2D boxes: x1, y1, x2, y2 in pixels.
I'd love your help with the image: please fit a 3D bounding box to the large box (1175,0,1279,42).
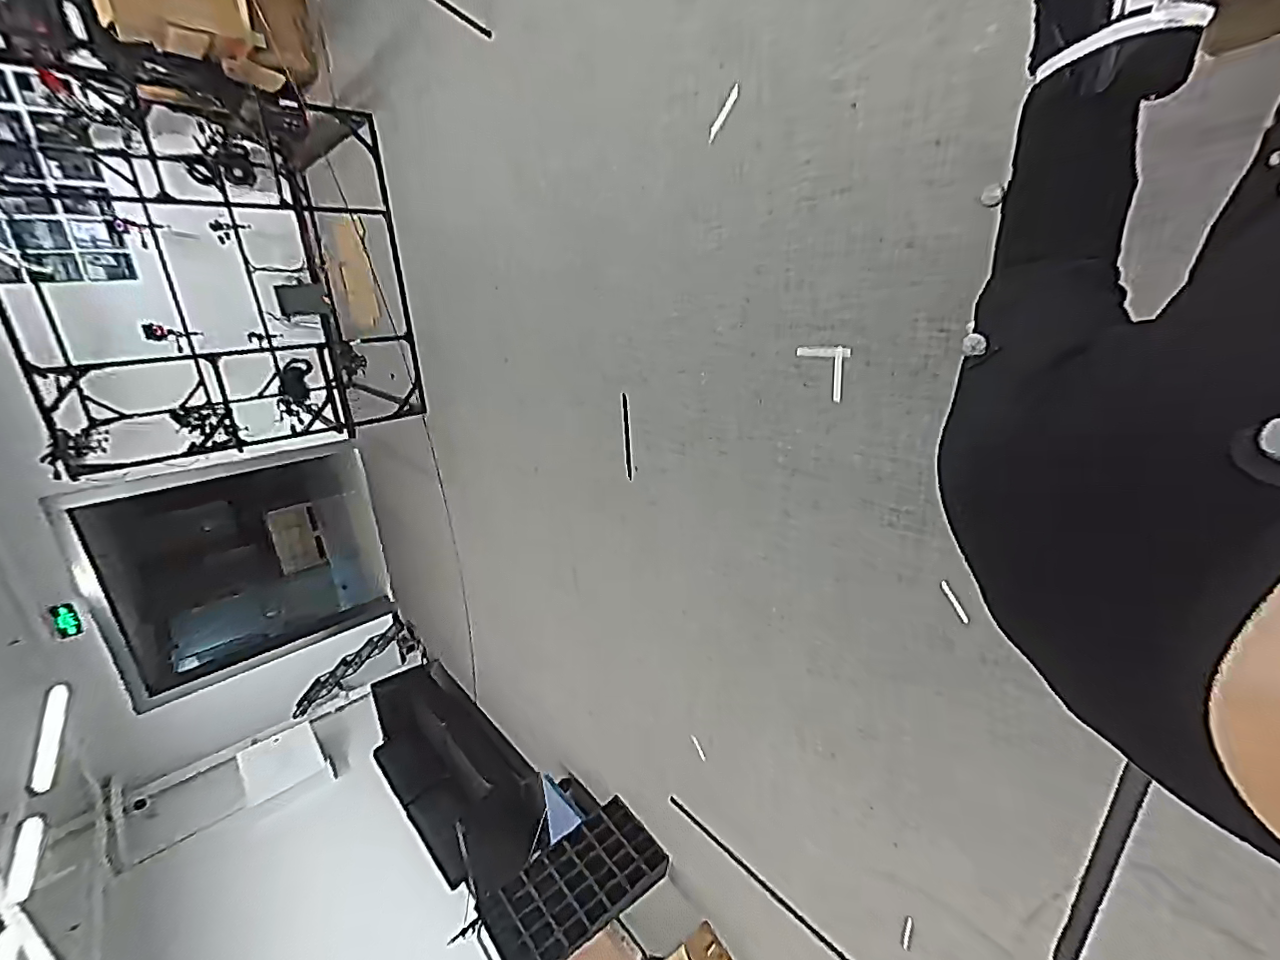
[{"bbox_3d":[0.551,-0.499,0.256,0.408,0.320,0.320,9,119,48],"label":"large box"}]
